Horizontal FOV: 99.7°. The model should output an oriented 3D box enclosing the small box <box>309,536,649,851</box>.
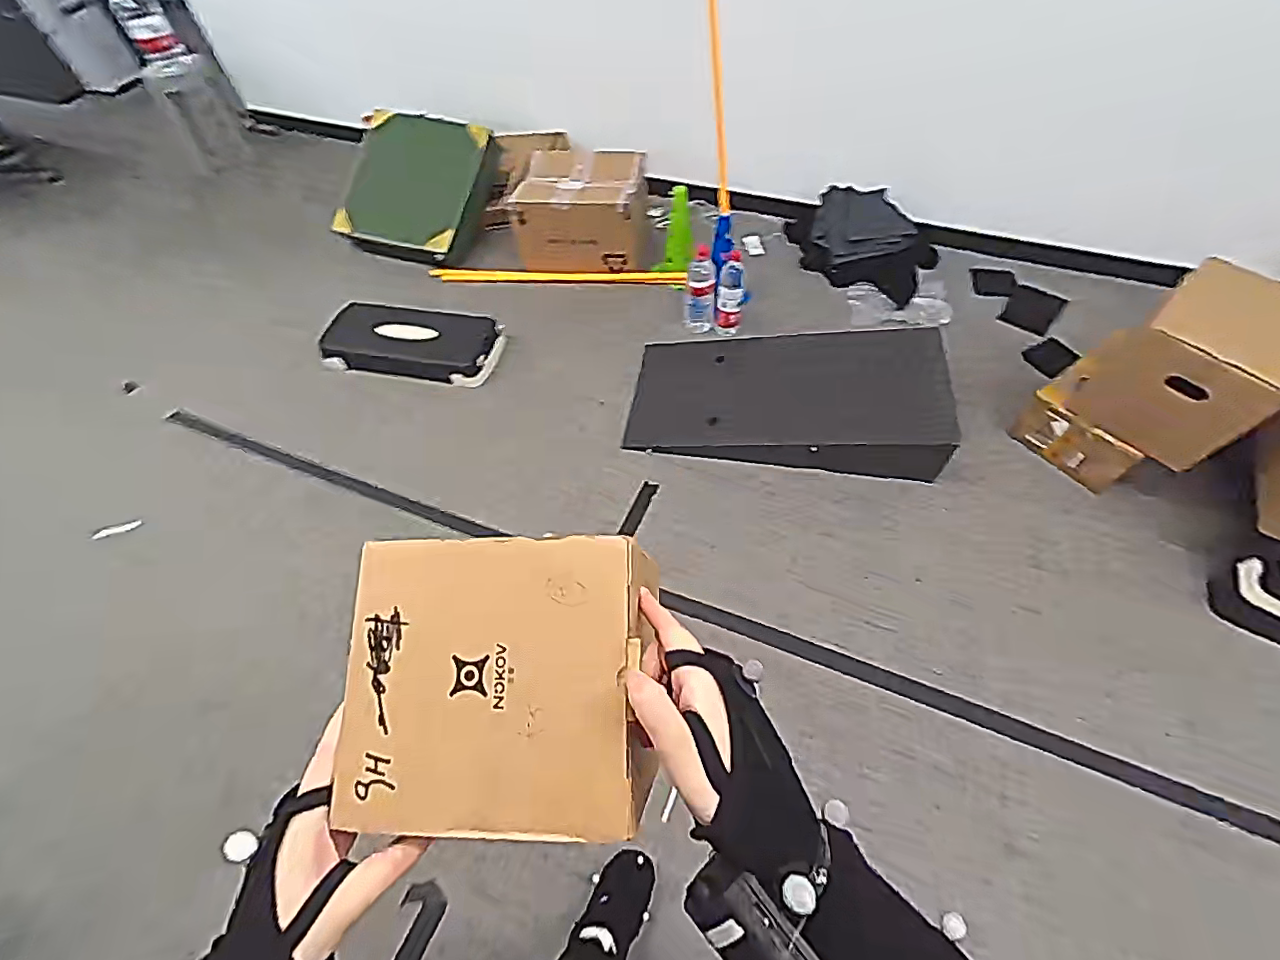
[{"bbox_3d":[-0.085,0.133,0.381,0.179,0.176,0.168,-1,74,6],"label":"small box"}]
